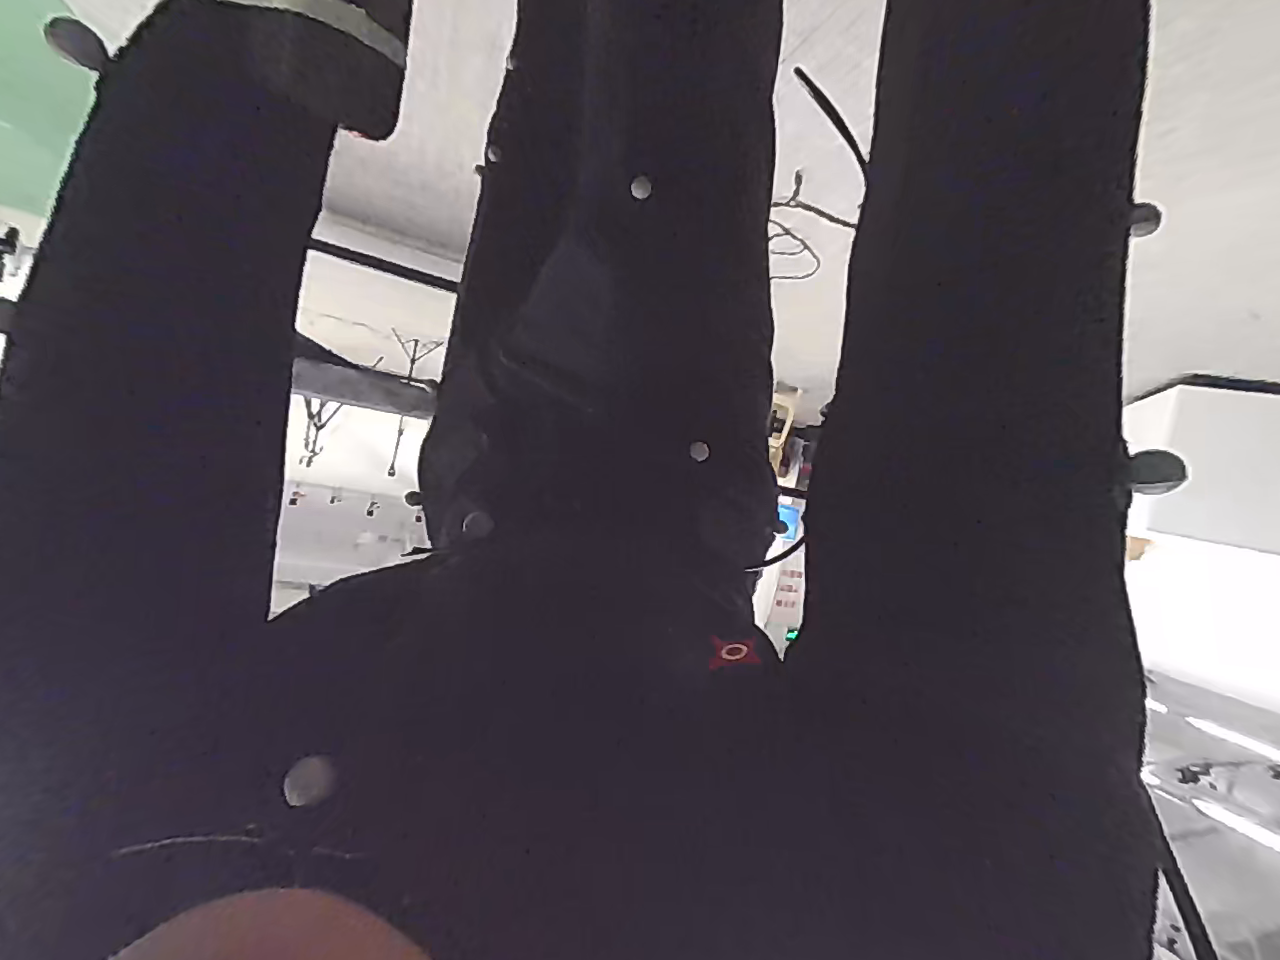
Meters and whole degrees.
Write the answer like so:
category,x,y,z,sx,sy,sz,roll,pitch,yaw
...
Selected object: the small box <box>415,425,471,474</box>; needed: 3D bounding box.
category,x,y,z,sx,sy,sz,roll,pitch,yaw
small box,-0.808,-0.128,2.216,0.179,0.176,0.168,10,-179,-29
